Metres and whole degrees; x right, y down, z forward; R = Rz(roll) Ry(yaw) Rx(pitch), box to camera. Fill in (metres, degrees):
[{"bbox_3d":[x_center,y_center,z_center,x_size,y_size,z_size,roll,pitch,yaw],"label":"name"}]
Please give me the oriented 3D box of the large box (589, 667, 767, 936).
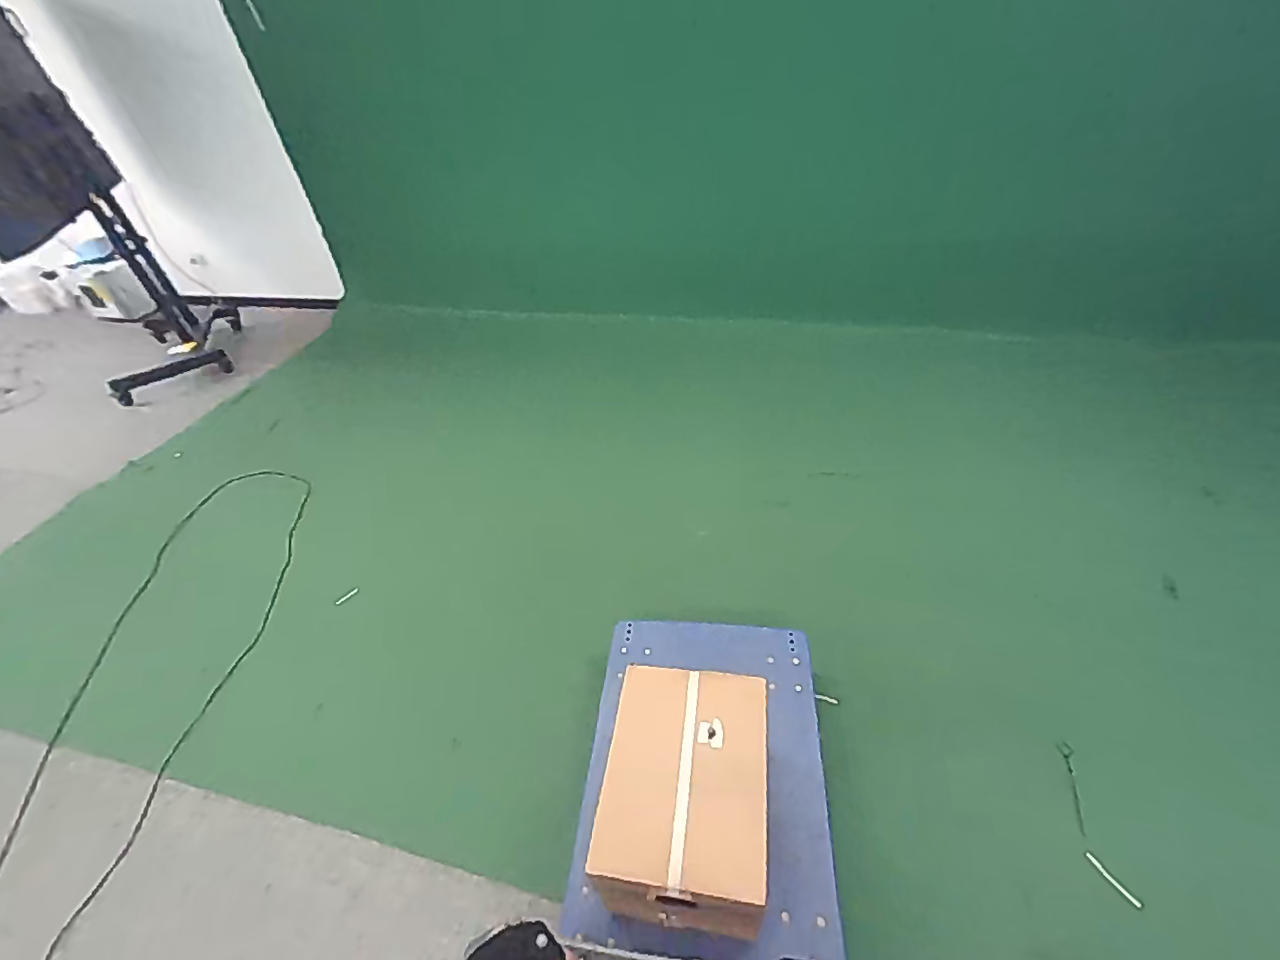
[{"bbox_3d":[0.103,0.674,1.161,0.320,0.320,0.408,3,42,11],"label":"large box"}]
